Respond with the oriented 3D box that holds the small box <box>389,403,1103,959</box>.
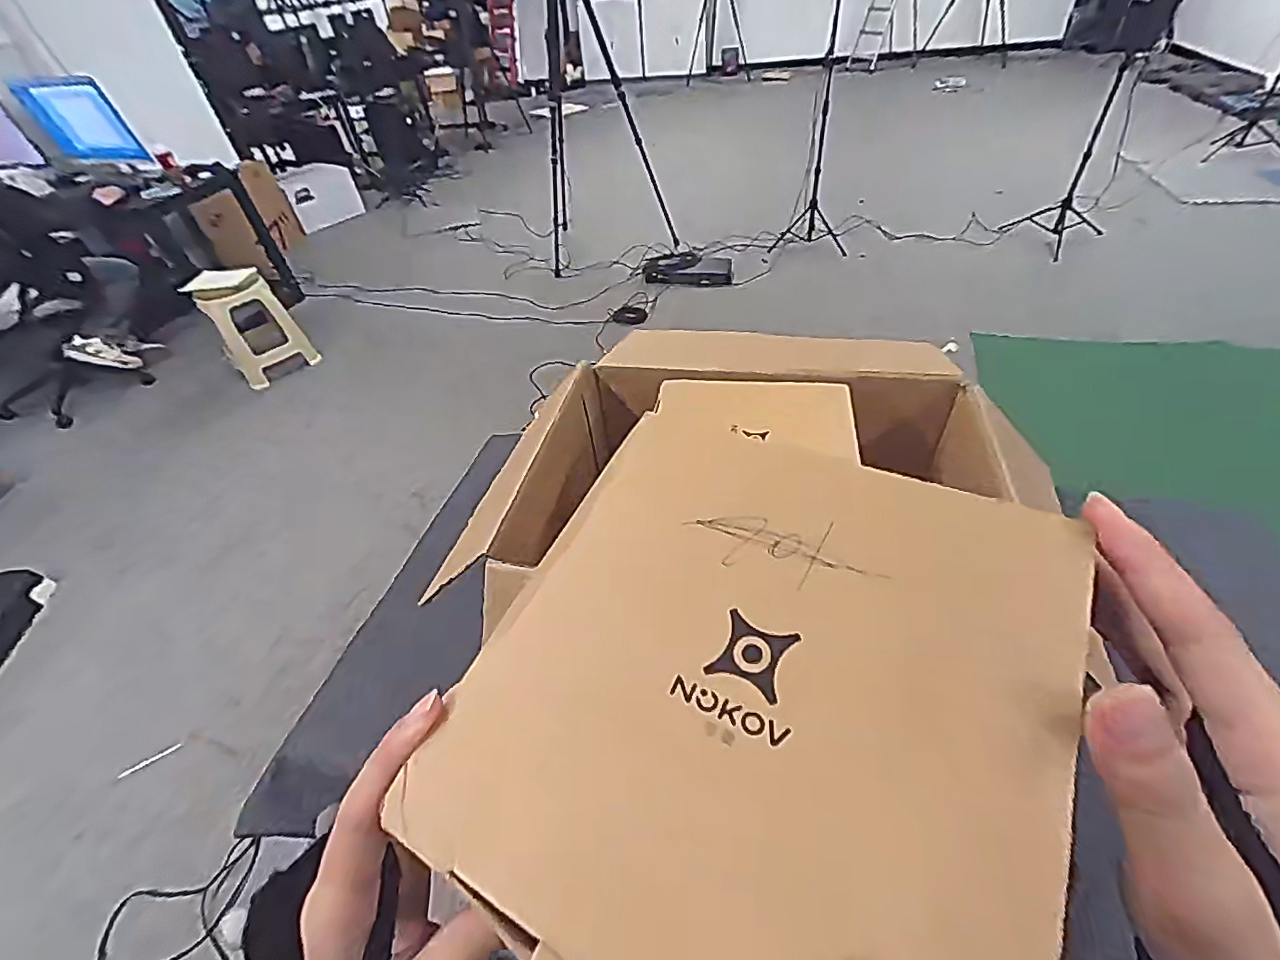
[{"bbox_3d":[0.049,0.101,0.226,0.168,0.176,0.179,18,58,24],"label":"small box"}]
